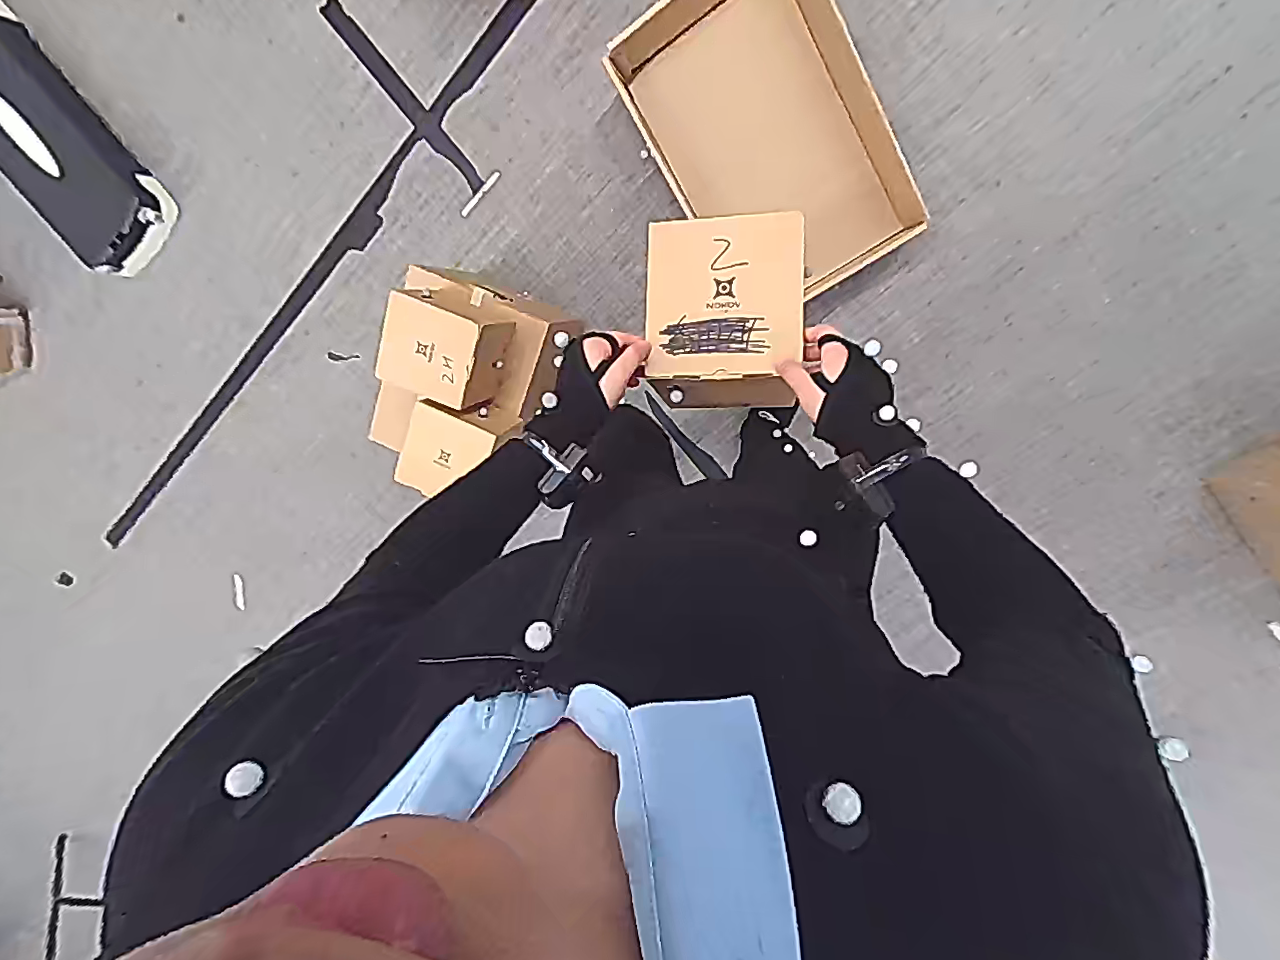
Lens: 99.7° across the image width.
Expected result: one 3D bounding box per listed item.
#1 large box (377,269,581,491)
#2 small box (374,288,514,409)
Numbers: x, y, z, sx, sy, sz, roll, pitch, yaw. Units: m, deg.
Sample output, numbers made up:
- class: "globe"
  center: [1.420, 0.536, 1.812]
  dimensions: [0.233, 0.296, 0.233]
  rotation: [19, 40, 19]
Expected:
- class: "large box"
  center: [-0.371, -0.250, 1.299]
  dimensions: [0.320, 0.320, 0.408]
  rotation: [23, 110, 1]
- class: "small box"
  center: [-0.369, -0.255, 1.037]
  dimensions: [0.179, 0.176, 0.168]
  rotation: [22, 110, 0]
